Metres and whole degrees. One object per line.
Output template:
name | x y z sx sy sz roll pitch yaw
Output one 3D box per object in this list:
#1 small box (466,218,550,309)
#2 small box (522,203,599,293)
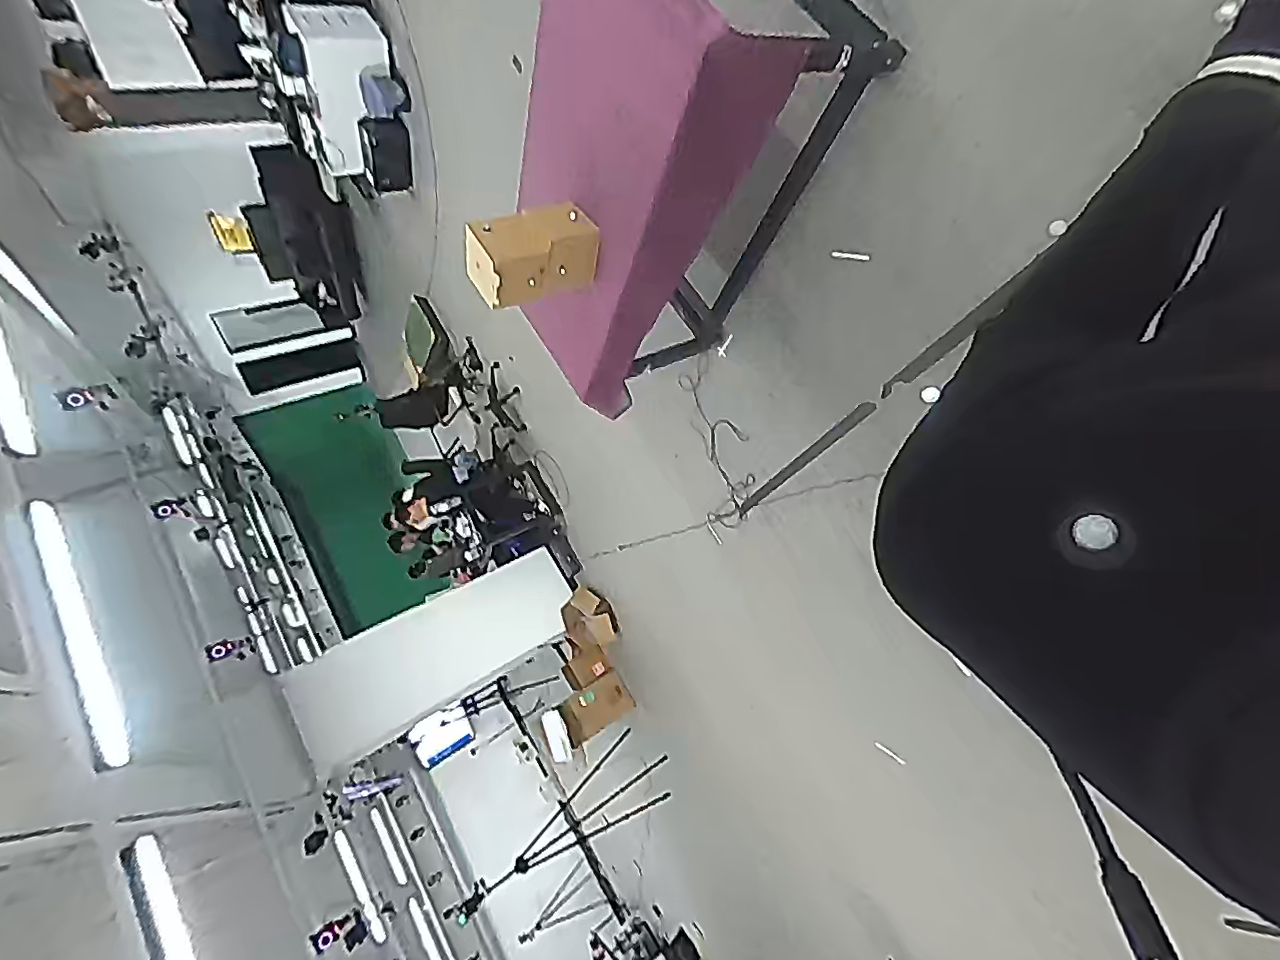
small box | -0.378 -0.620 1.538 0.179 0.176 0.168 54 151 19
small box | -0.236 -0.687 1.595 0.168 0.176 0.179 51 148 23
